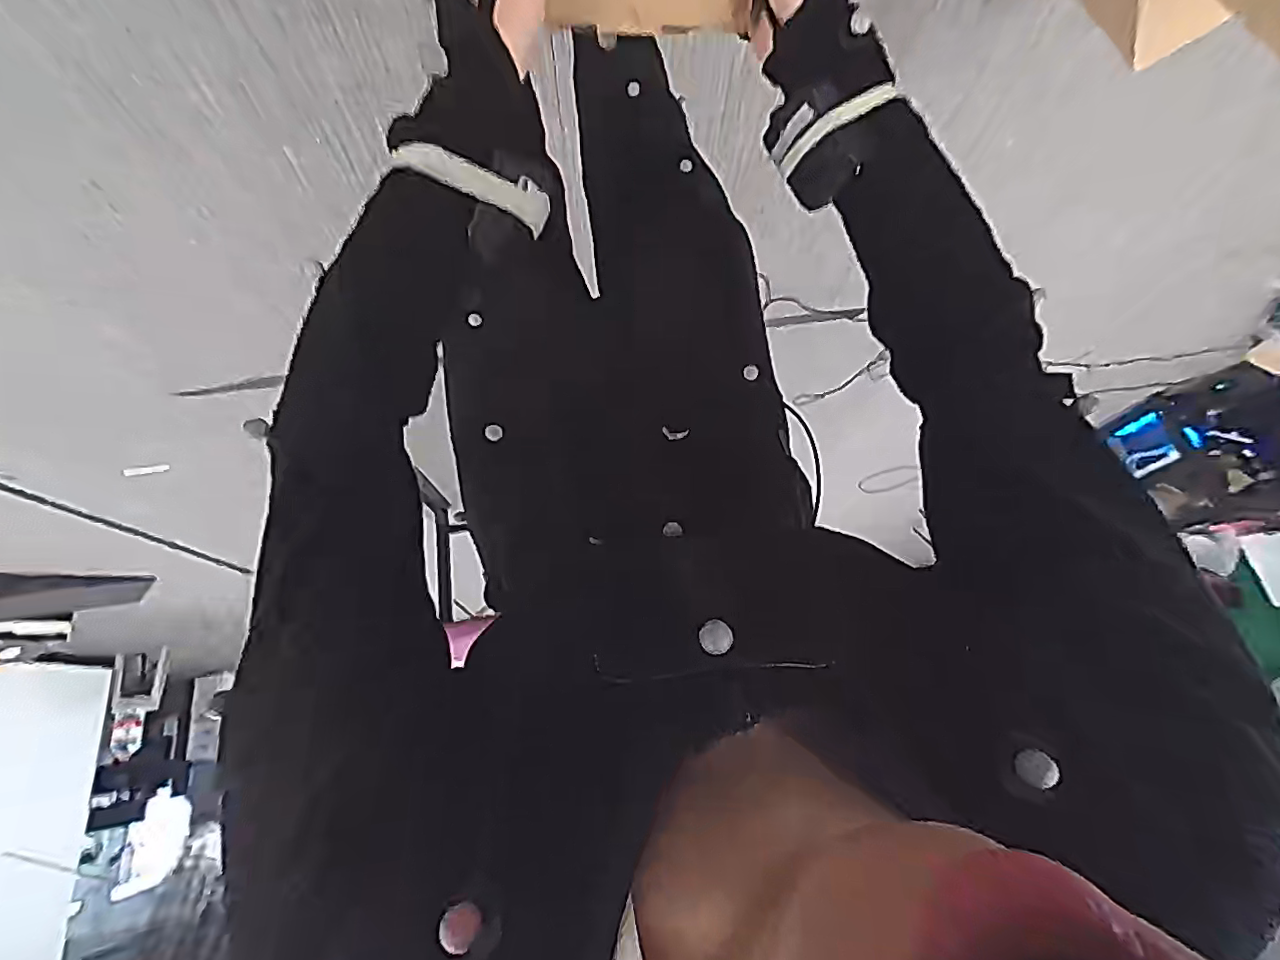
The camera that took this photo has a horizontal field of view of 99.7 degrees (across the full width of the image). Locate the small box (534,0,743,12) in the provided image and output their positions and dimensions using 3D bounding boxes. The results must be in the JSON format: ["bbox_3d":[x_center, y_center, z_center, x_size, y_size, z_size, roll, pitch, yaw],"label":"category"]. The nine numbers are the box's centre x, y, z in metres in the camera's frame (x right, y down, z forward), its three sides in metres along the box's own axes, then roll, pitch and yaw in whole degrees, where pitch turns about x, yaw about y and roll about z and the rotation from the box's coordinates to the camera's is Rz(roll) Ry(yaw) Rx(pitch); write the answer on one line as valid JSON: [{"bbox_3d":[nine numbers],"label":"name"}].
[{"bbox_3d":[-0.021,-0.428,0.353,0.168,0.176,0.179,-5,134,-9],"label":"small box"}]

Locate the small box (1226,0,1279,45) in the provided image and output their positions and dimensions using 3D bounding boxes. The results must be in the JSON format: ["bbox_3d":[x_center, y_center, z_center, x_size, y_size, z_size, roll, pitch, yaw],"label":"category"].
[{"bbox_3d":[0.774,-0.652,0.586,0.179,0.176,0.168,-25,155,33],"label":"small box"}]
